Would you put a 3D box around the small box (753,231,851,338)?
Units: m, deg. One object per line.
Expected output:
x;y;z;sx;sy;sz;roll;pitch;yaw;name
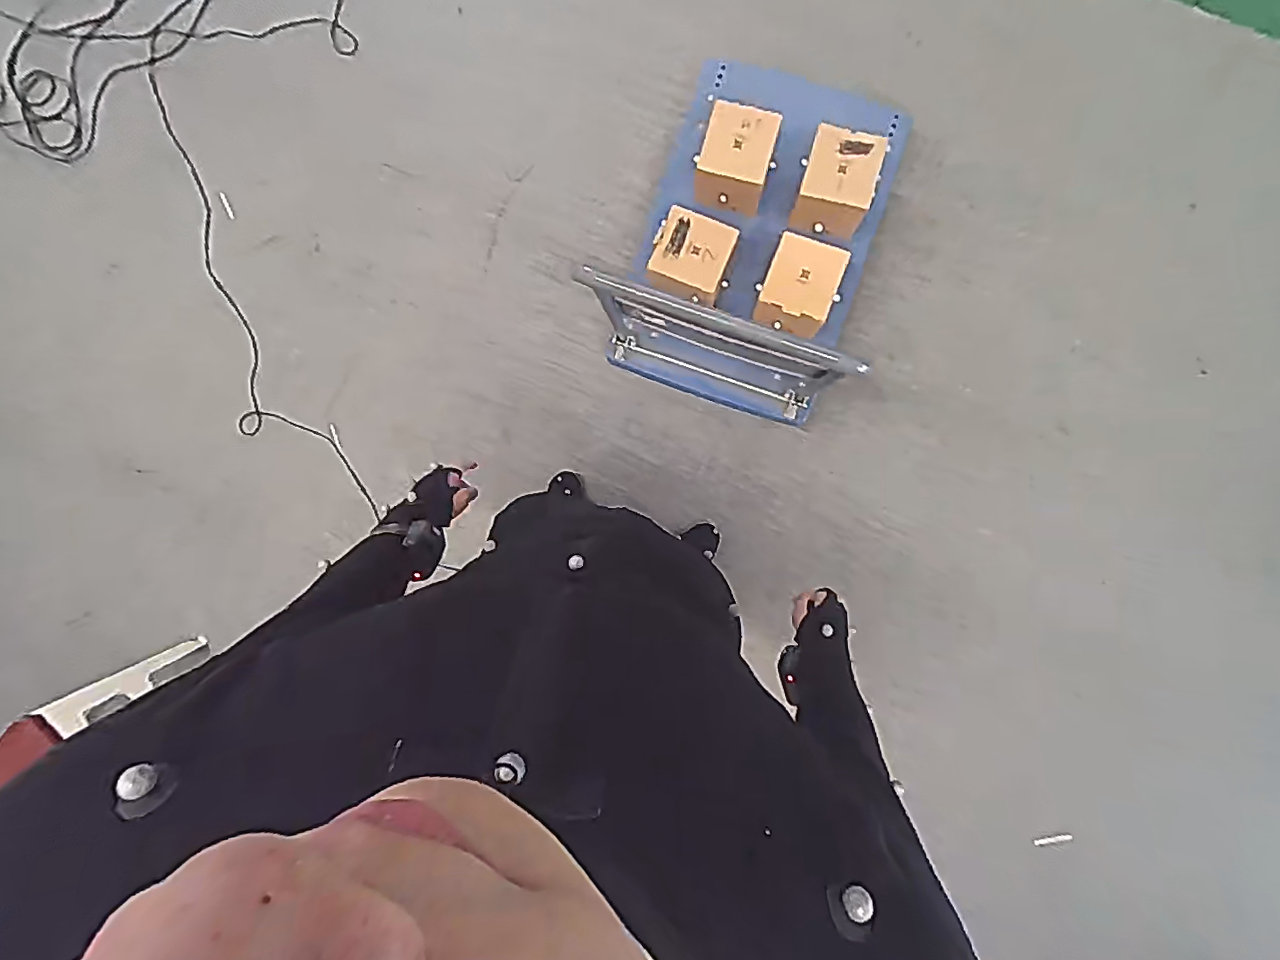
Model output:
0.393;-0.479;1.348;0.168;0.176;0.179;21;92;4;small box

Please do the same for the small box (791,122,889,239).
0.485;-0.734;1.340;0.168;0.176;0.179;17;92;6;small box

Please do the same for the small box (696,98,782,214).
0.243;-0.804;1.361;0.168;0.176;0.179;17;91;4;small box
